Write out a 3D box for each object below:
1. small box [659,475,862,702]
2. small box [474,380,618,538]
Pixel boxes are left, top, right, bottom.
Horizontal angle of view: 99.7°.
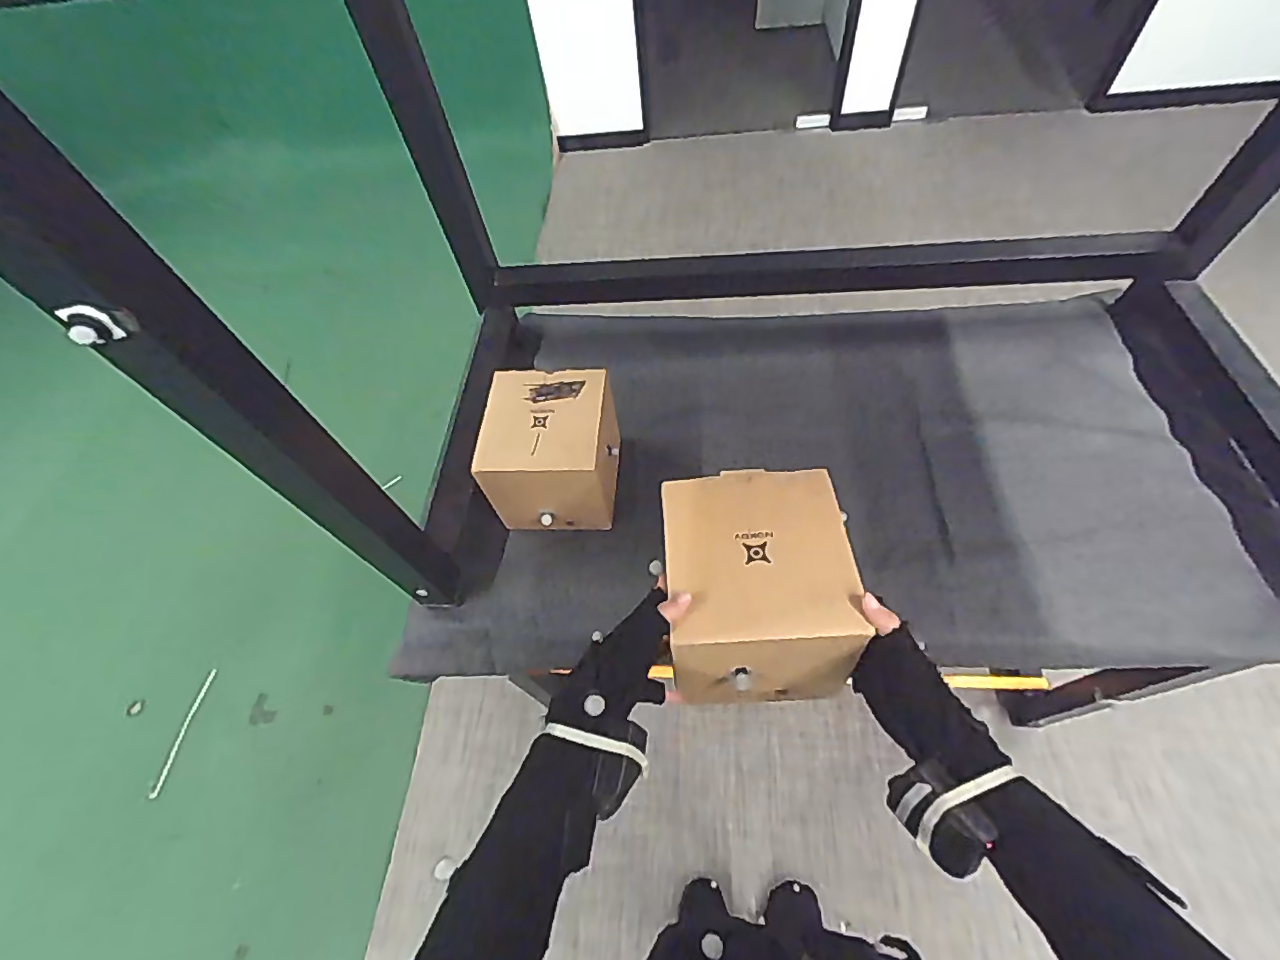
[{"bbox_3d":[0.110,0.118,0.557,0.168,0.176,0.179,-4,49,4],"label":"small box"},{"bbox_3d":[-0.126,-0.029,0.809,0.168,0.176,0.179,0,57,6],"label":"small box"}]
